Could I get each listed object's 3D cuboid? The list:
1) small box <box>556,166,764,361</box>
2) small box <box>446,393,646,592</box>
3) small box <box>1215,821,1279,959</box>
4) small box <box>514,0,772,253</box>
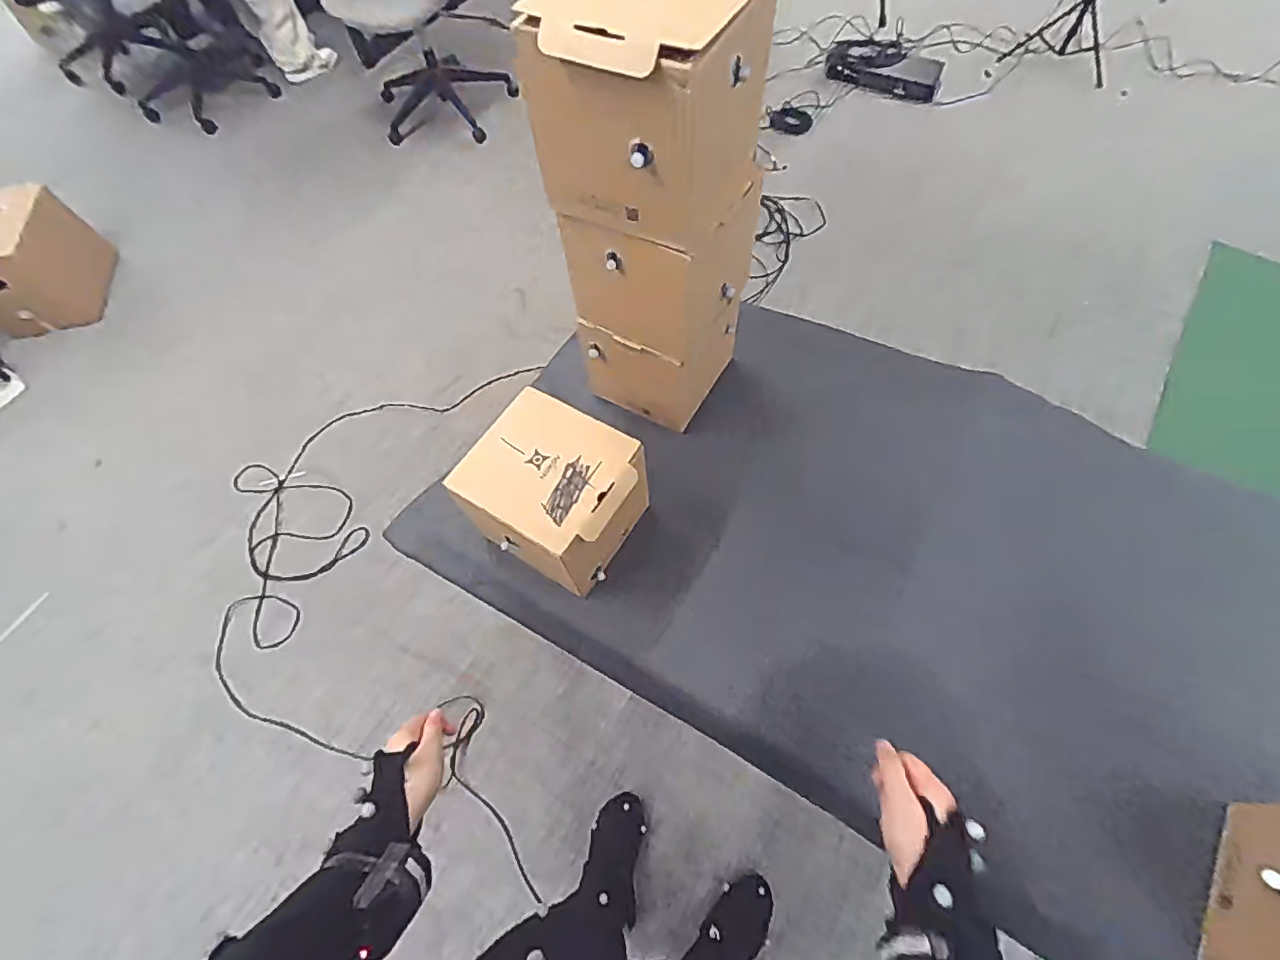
[{"bbox_3d":[0.027,-0.275,0.660,0.179,0.176,0.168,27,68,17],"label":"small box"},{"bbox_3d":[-0.105,0.026,0.697,0.179,0.176,0.168,28,68,18],"label":"small box"},{"bbox_3d":[0.642,0.406,0.438,0.179,0.176,0.168,32,66,20],"label":"small box"},{"bbox_3d":[0.011,-0.353,0.519,0.168,0.176,0.179,24,66,14],"label":"small box"}]
